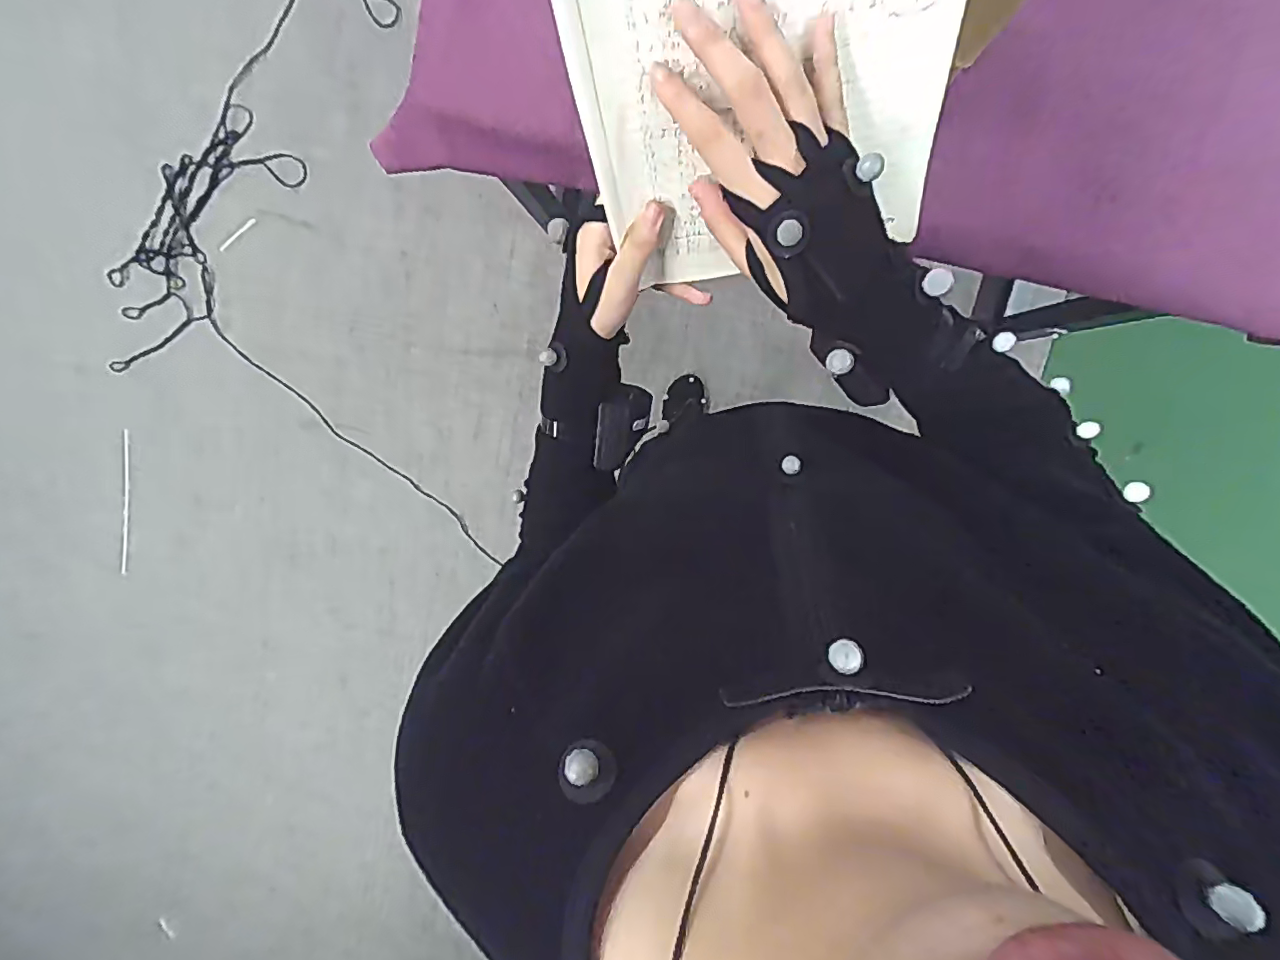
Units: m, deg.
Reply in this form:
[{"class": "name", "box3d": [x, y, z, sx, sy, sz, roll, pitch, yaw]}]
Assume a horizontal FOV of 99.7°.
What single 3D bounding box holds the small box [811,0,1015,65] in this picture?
[{"class": "small box", "box3d": [0.252, -0.488, 0.439, 0.168, 0.176, 0.179, 15, 98, 3]}]
